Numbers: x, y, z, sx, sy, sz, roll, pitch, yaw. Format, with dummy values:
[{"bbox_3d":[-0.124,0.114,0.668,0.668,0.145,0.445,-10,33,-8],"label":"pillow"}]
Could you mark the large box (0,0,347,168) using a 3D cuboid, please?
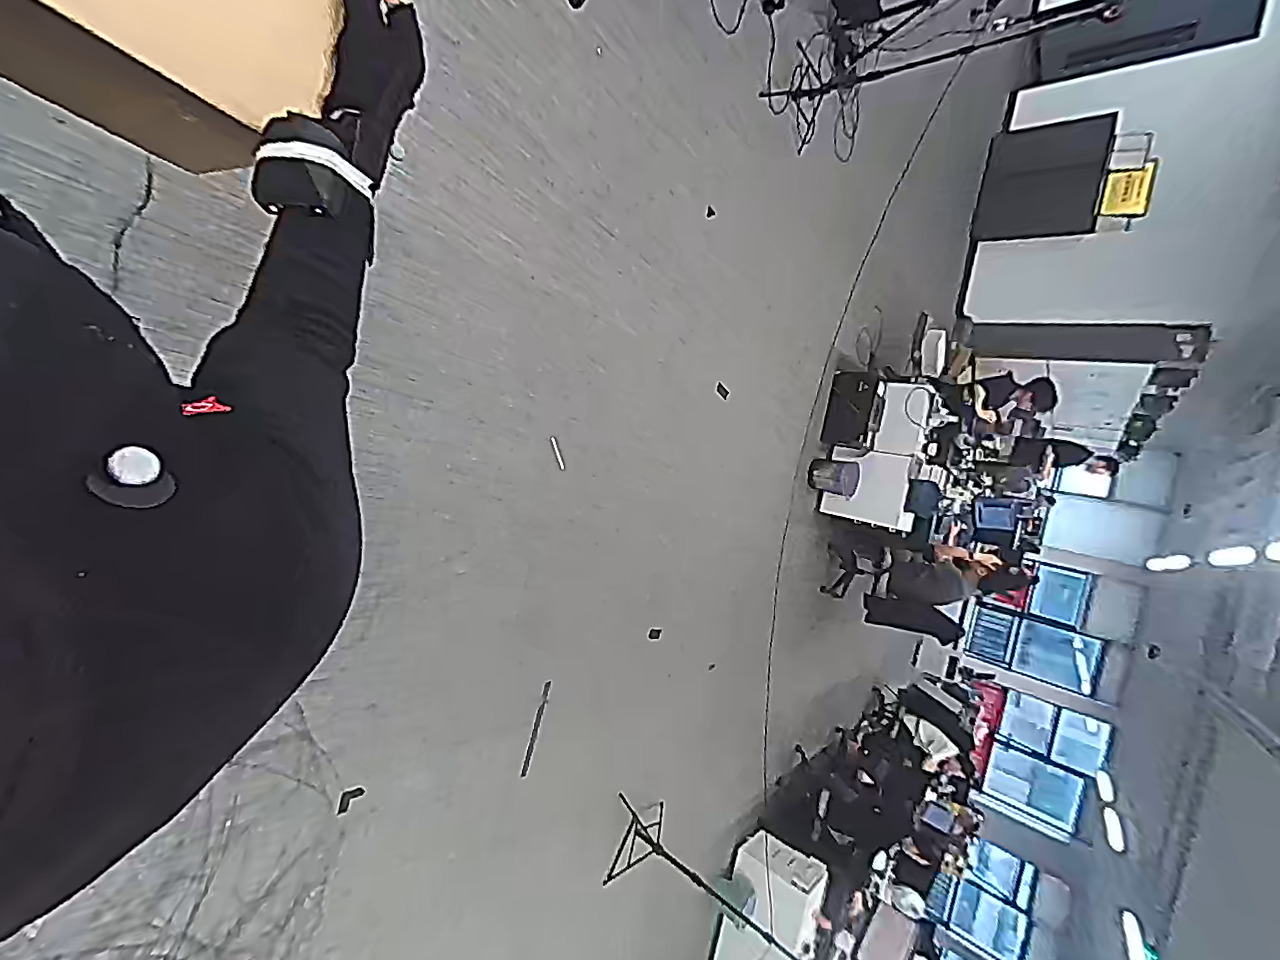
[{"bbox_3d":[-0.461,-0.480,0.364,0.408,0.320,0.320,16,95,-56],"label":"large box"}]
